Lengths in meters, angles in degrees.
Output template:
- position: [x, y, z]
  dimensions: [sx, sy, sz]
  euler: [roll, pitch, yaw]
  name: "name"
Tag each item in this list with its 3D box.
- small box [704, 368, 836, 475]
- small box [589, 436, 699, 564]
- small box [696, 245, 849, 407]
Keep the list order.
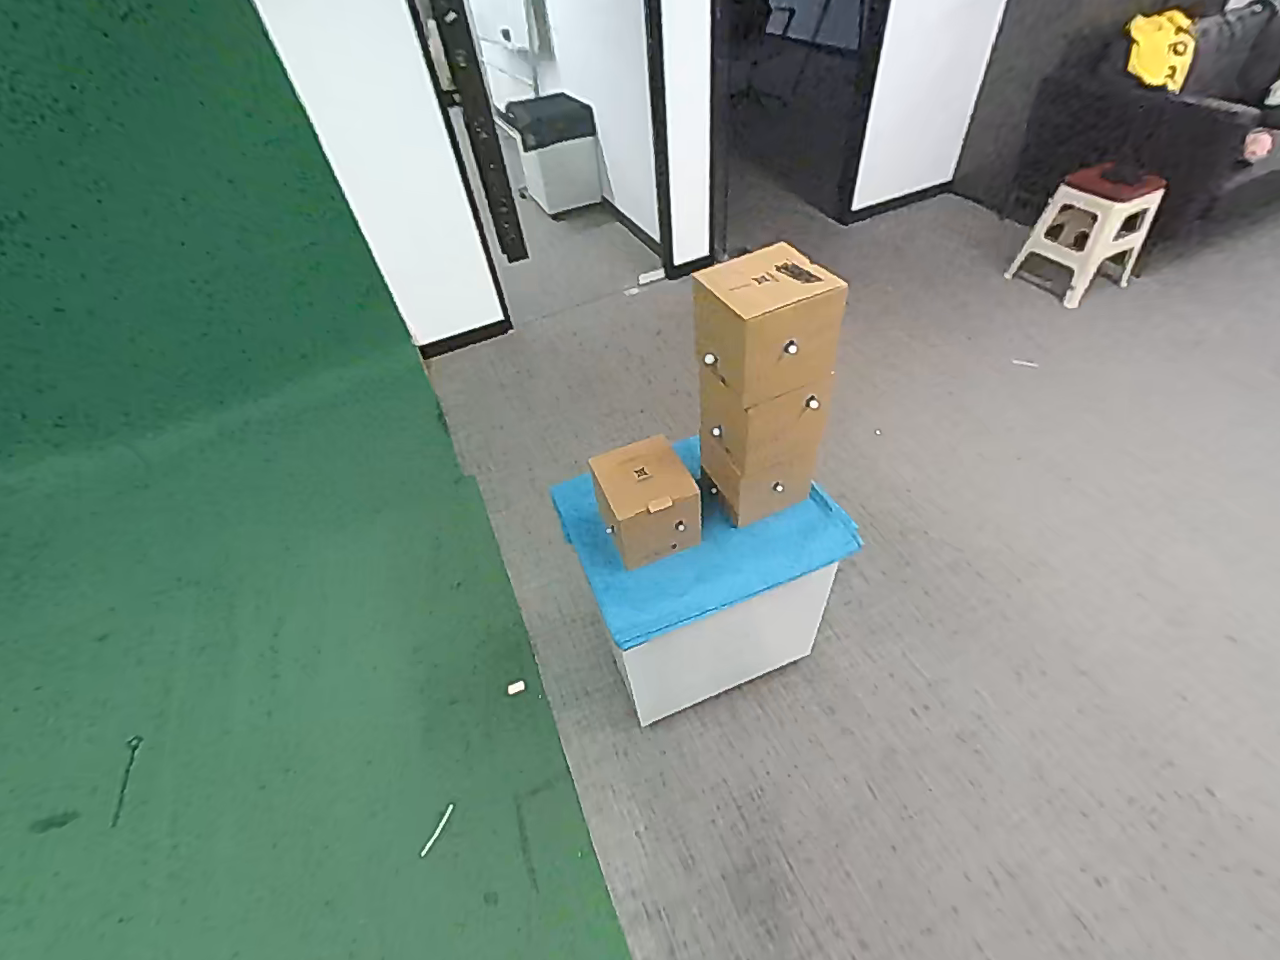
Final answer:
- position: [0.227, -0.141, 0.999]
  dimensions: [0.179, 0.176, 0.168]
  euler: [-22, 48, -12]
  name: "small box"
- position: [0.011, 0.046, 1.078]
  dimensions: [0.168, 0.176, 0.179]
  euler: [-18, 47, -12]
  name: "small box"
- position: [0.203, -0.248, 0.876]
  dimensions: [0.179, 0.176, 0.168]
  euler: [-22, 48, -11]
  name: "small box"
